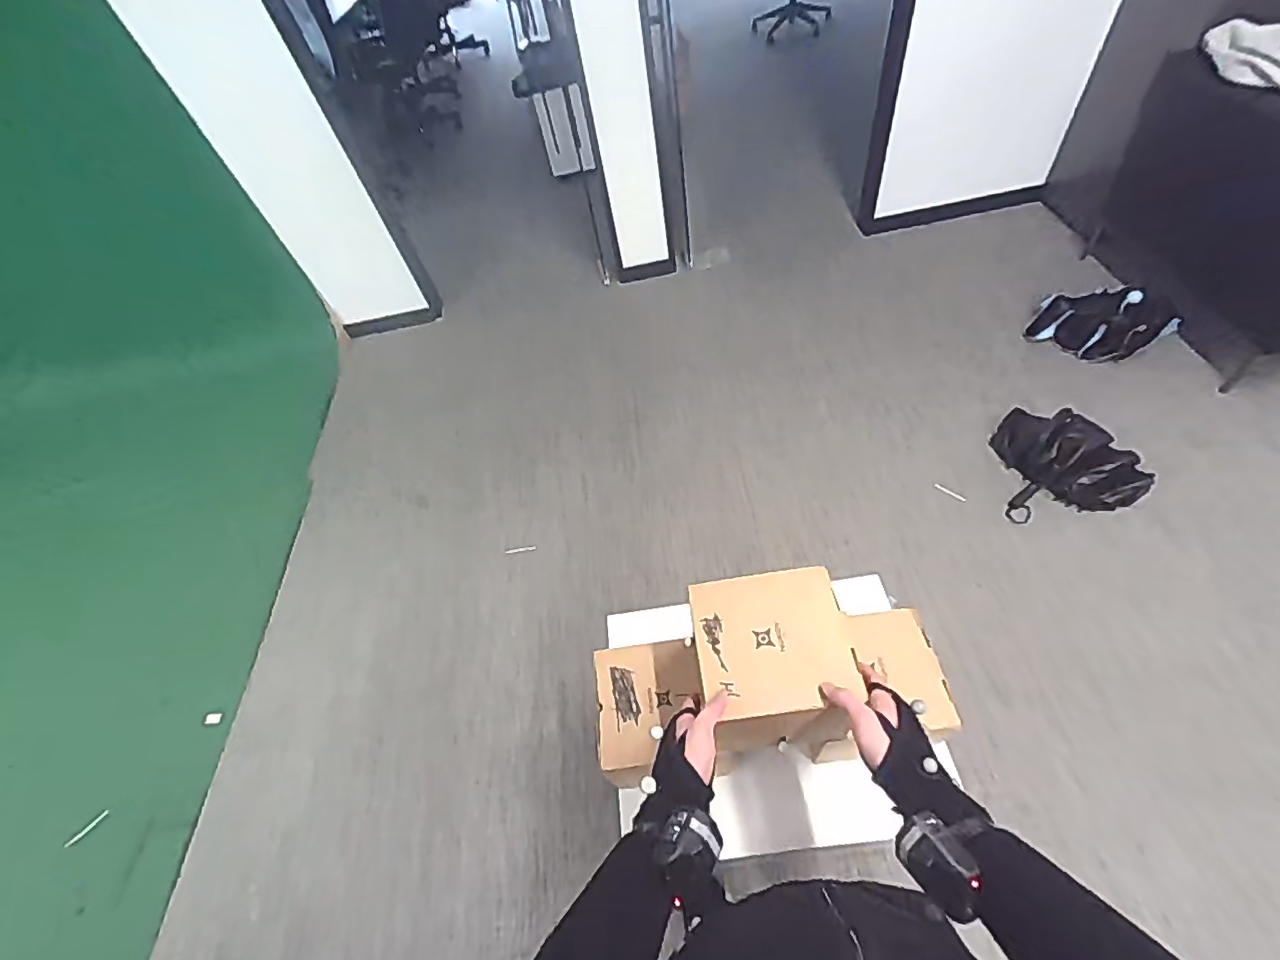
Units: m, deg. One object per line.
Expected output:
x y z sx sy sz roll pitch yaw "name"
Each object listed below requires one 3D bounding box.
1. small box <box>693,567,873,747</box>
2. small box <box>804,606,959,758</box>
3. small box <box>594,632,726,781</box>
0.163 0.228 0.683 0.179 0.176 0.168 -7 53 2 "small box"
0.329 0.305 0.805 0.179 0.176 0.168 -8 53 4 "small box"
0.032 0.346 0.817 0.179 0.176 0.168 -7 54 1 "small box"
